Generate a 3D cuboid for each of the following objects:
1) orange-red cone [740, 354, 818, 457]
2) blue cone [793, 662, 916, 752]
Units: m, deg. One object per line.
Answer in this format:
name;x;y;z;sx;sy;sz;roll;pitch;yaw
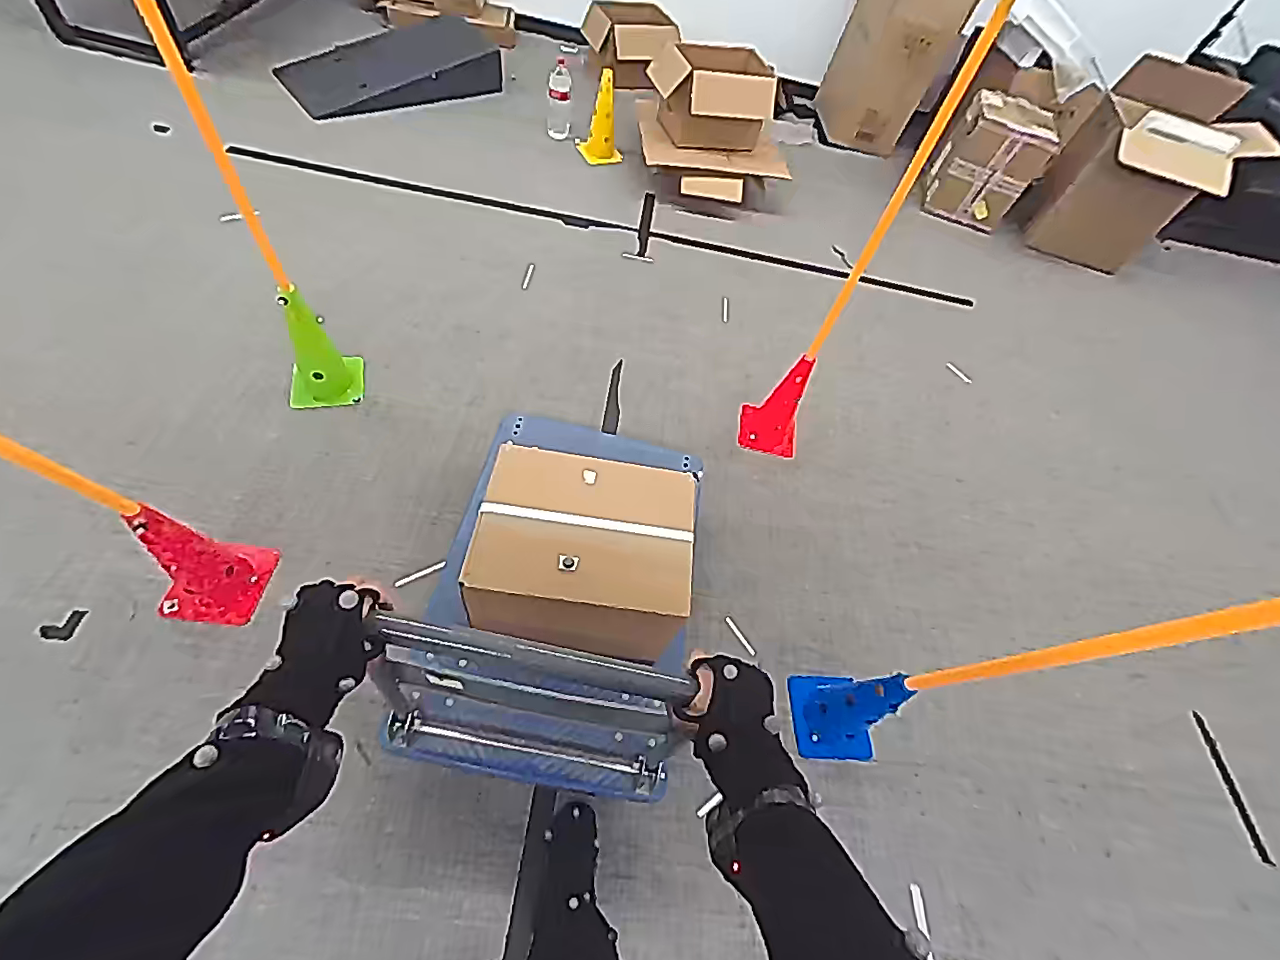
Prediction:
orange-red cone;0.482;-0.266;1.743;0.199;0.360;0.198;16;56;-2
blue cone;0.525;0.506;1.262;0.193;0.380;0.192;6;55;-8
